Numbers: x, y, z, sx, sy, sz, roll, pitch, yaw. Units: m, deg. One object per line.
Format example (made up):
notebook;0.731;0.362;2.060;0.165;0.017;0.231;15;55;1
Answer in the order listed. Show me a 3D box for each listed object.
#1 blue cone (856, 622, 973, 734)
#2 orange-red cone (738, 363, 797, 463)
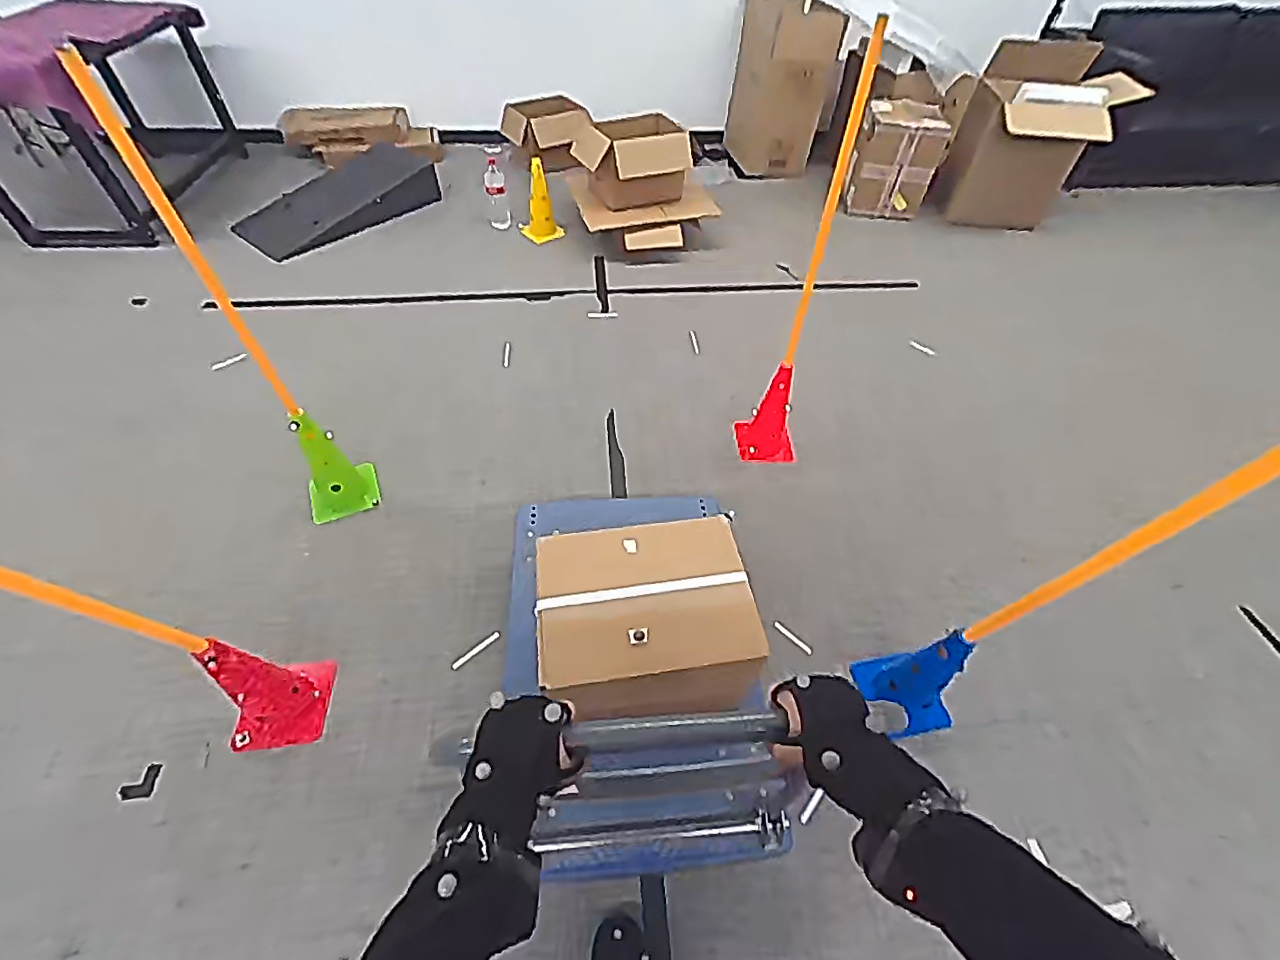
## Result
blue cone;0.686;0.448;1.282;0.193;0.380;0.192;-6;50;-8
orange-red cone;0.469;-0.247;1.831;0.199;0.360;0.198;3;51;-2
